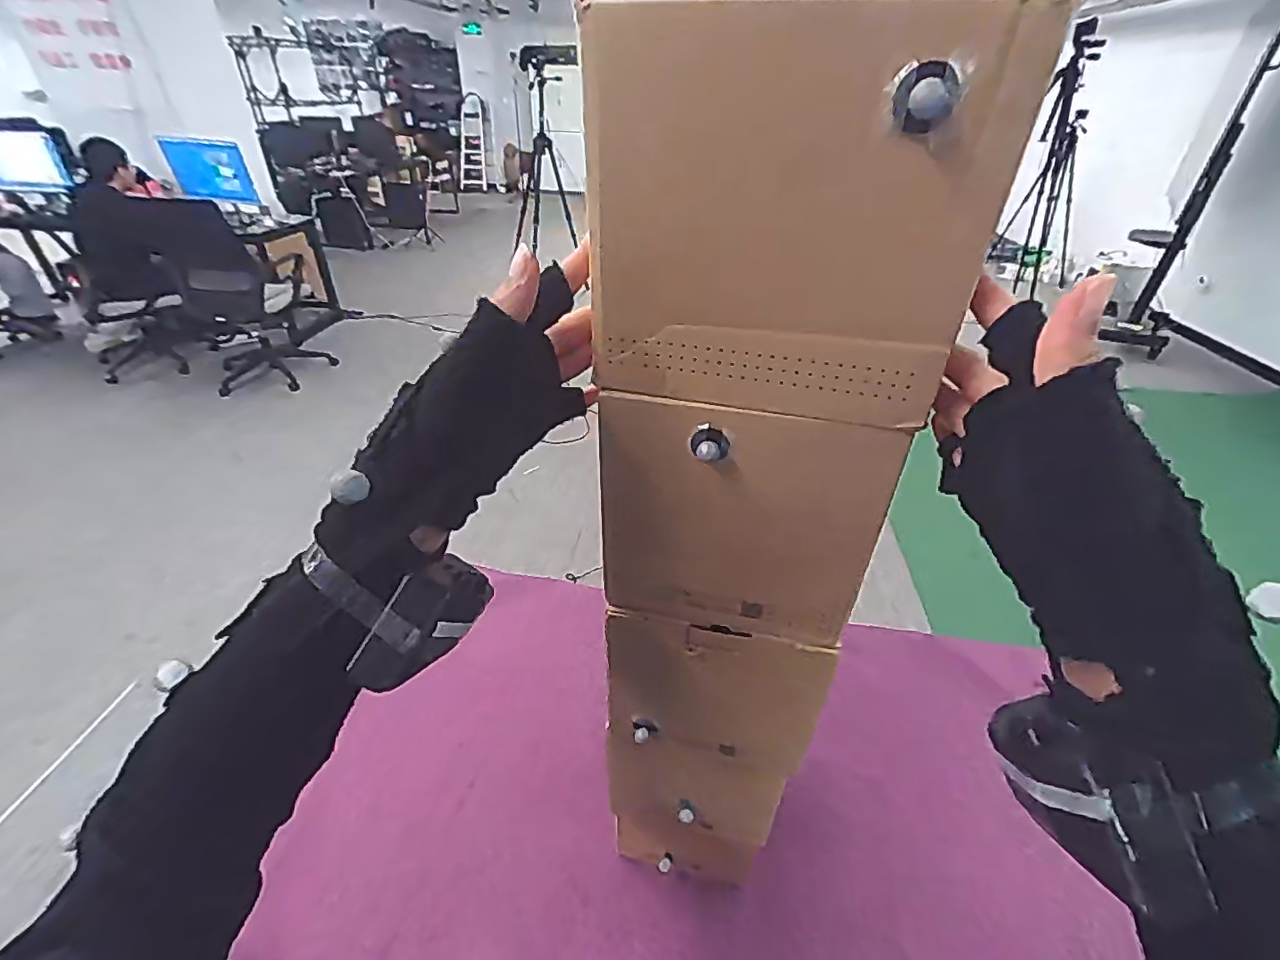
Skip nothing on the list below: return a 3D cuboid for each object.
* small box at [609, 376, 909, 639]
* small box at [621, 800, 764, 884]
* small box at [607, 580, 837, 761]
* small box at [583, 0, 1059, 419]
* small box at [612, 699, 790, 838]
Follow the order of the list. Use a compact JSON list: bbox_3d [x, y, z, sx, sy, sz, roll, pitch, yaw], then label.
[{"bbox_3d":[0.076,-0.016,0.402,0.168,0.176,0.179,9,35,11],"label":"small box"},{"bbox_3d":[0.072,0.375,0.700,0.168,0.176,0.179,8,36,10],"label":"small box"},{"bbox_3d":[0.073,0.121,0.492,0.168,0.176,0.179,8,35,9],"label":"small box"},{"bbox_3d":[0.079,-0.149,0.307,0.179,0.176,0.168,10,37,11],"label":"small box"},{"bbox_3d":[0.068,0.249,0.594,0.168,0.176,0.179,7,36,9],"label":"small box"}]
